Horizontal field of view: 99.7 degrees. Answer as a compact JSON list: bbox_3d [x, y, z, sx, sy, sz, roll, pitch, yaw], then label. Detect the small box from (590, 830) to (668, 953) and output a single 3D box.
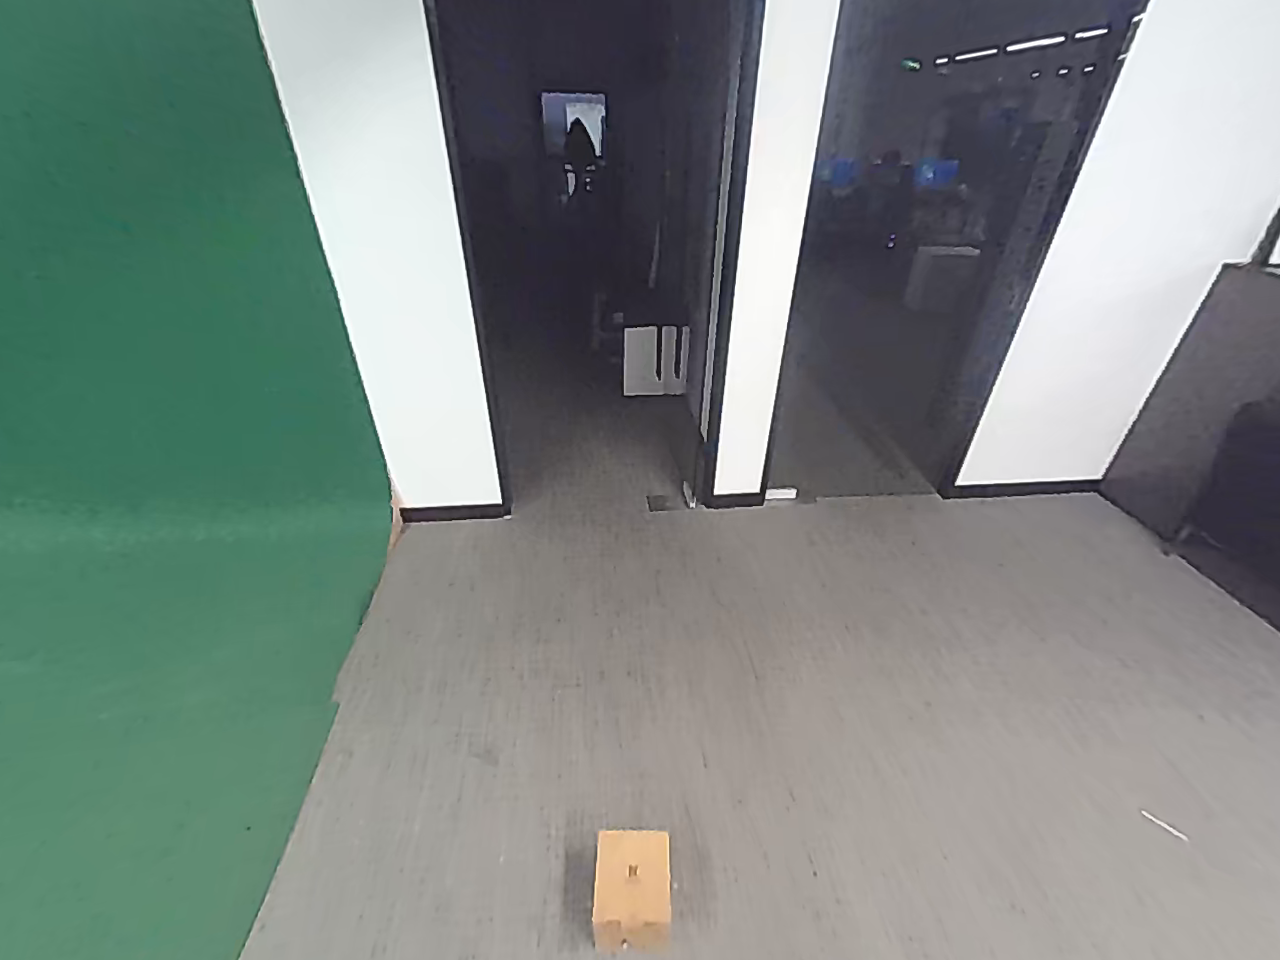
[{"bbox_3d":[-0.025,0.933,1.230,0.168,0.176,0.179,2,34,0],"label":"small box"}]
